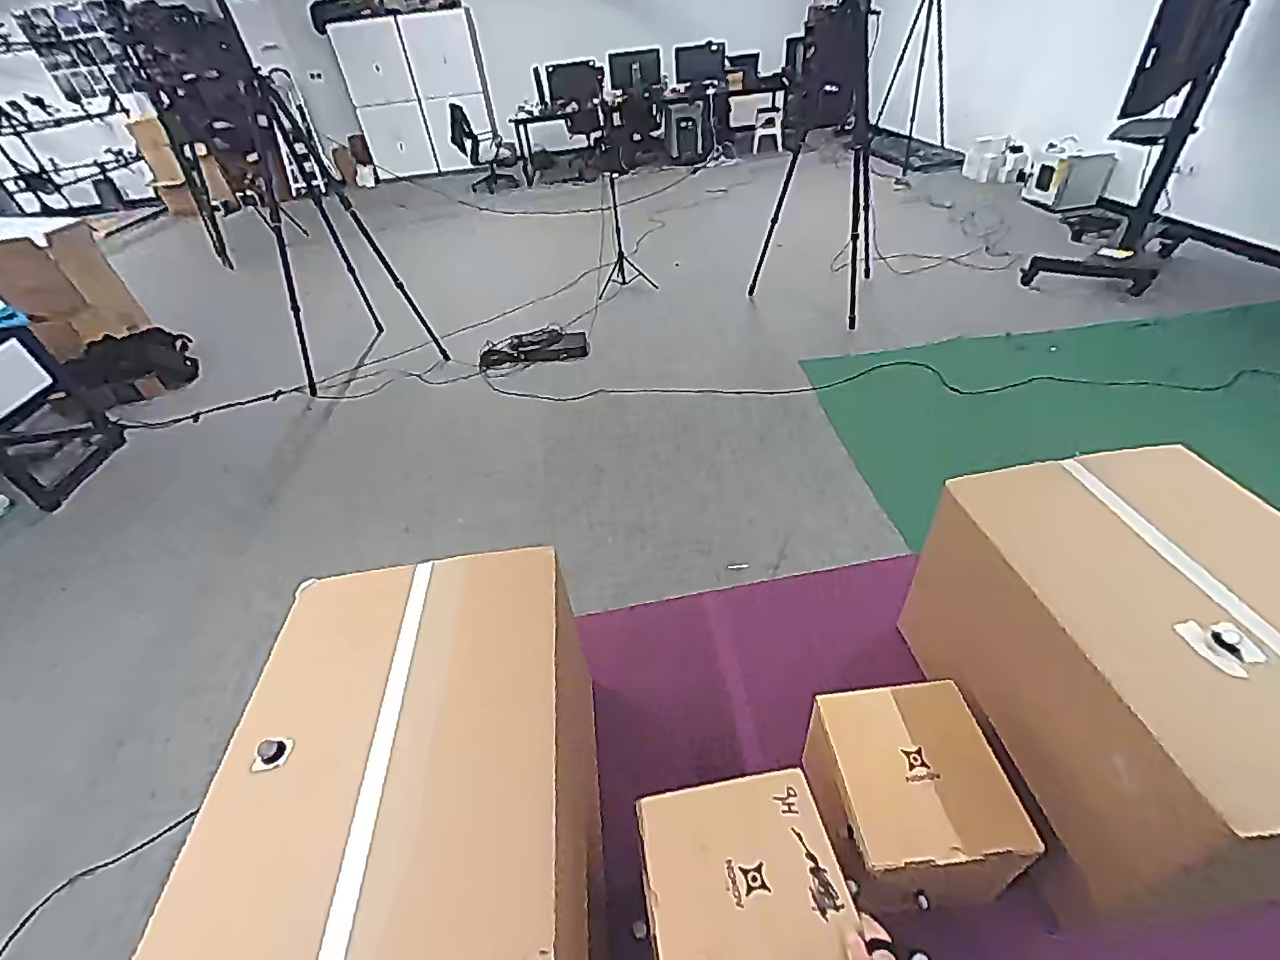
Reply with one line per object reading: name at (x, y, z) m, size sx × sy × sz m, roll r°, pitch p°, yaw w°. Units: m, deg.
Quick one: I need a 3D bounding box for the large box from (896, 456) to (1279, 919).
large box at (0.576, 0.225, 0.648) m, size 0.320 × 0.320 × 0.408 m, roll -8°, pitch 41°, yaw -1°
